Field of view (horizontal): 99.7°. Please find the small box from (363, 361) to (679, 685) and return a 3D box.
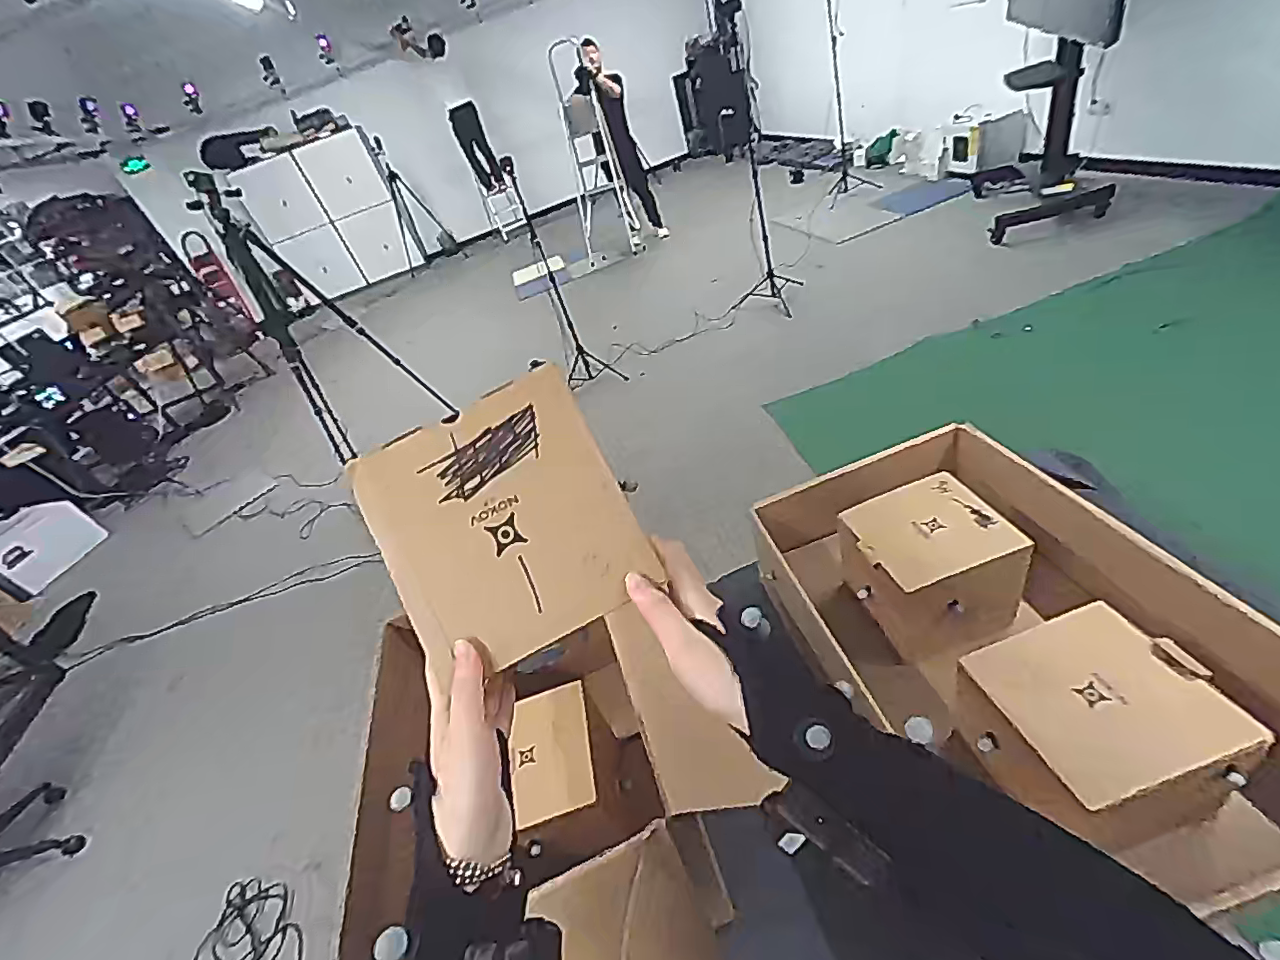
[{"bbox_3d":[-0.083,0.035,0.448,0.168,0.179,0.176,-27,-6,-3],"label":"small box"}]
